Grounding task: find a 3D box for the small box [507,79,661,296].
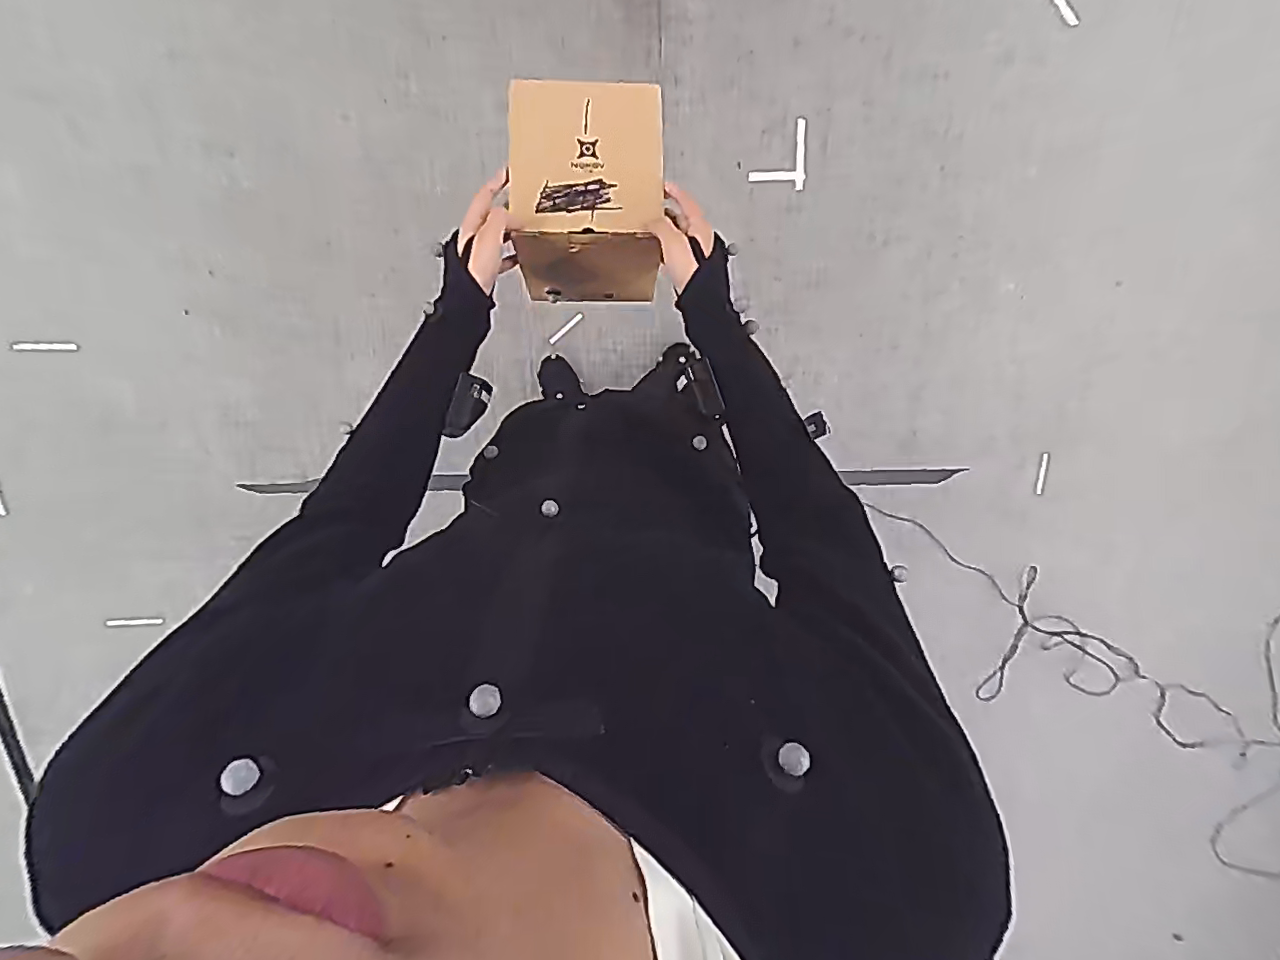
[{"bbox_3d":[-0.062,-0.336,0.652,0.168,0.176,0.179,-1,84,-3],"label":"small box"}]
